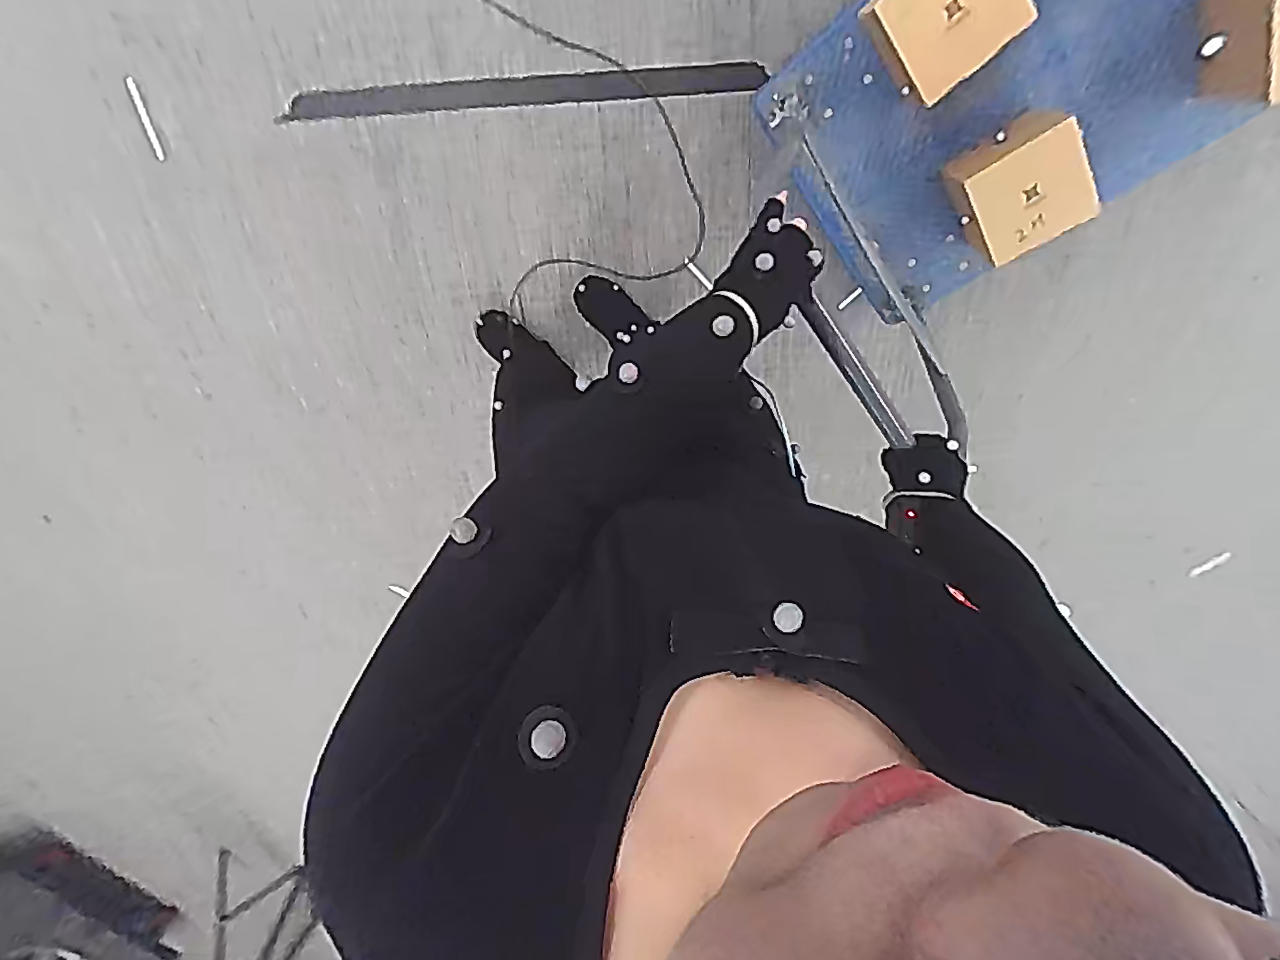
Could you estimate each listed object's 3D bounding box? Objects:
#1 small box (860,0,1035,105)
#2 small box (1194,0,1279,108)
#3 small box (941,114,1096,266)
[{"bbox_3d":[0.475,-0.743,0.861,0.168,0.176,0.179,-33,116,31],"label":"small box"},{"bbox_3d":[0.978,-0.688,0.794,0.179,0.176,0.168,-19,121,26],"label":"small box"},{"bbox_3d":[0.676,-0.529,0.983,0.168,0.176,0.179,-26,118,29],"label":"small box"}]
